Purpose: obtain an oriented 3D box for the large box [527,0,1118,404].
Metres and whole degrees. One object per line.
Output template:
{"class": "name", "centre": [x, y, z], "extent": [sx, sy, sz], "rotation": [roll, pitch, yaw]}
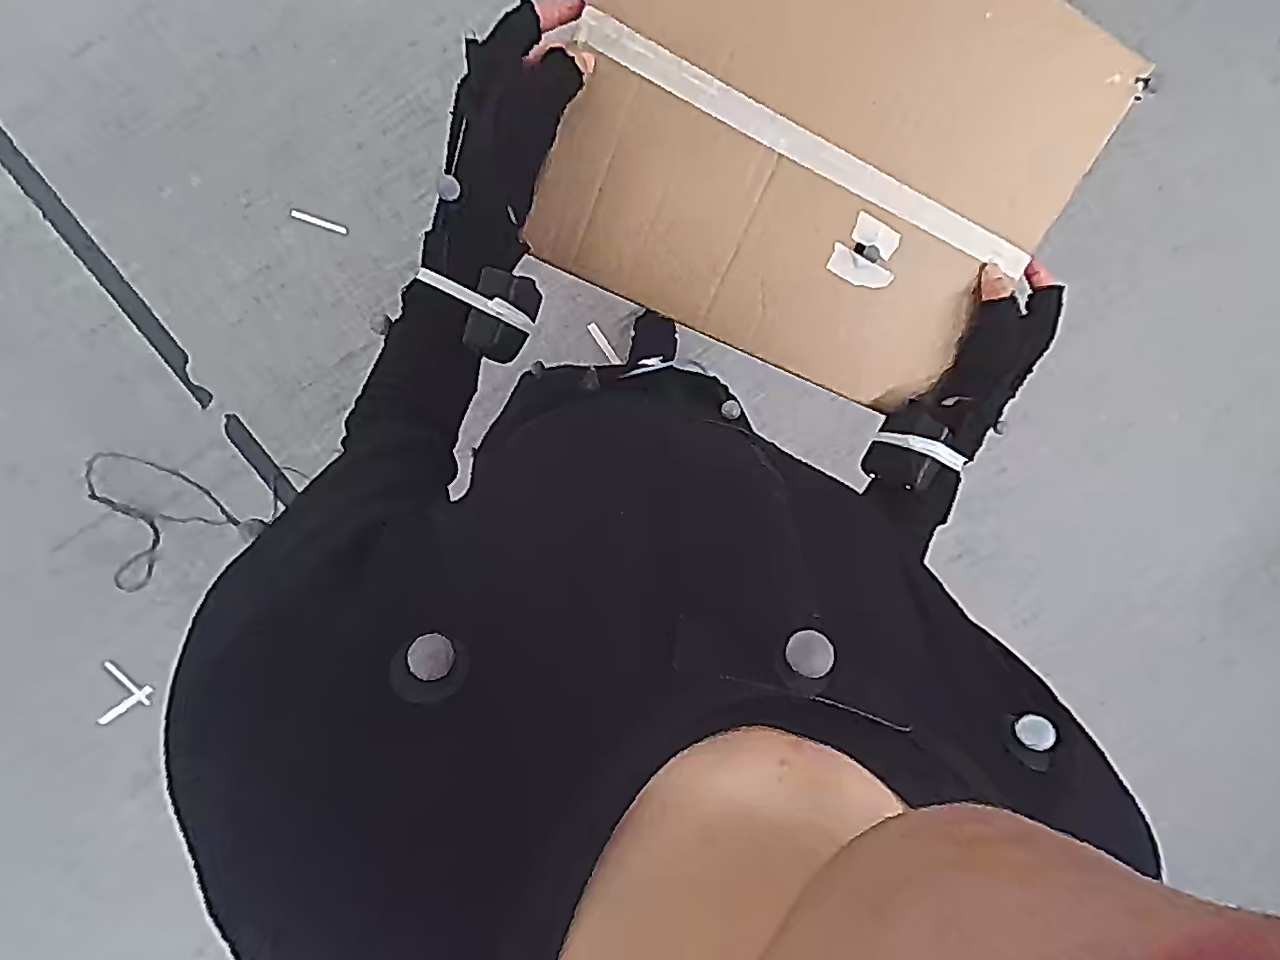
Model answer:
{"class": "large box", "centre": [0.128, -0.327, 0.571], "extent": [0.408, 0.320, 0.320], "rotation": [20, 113, -14]}
